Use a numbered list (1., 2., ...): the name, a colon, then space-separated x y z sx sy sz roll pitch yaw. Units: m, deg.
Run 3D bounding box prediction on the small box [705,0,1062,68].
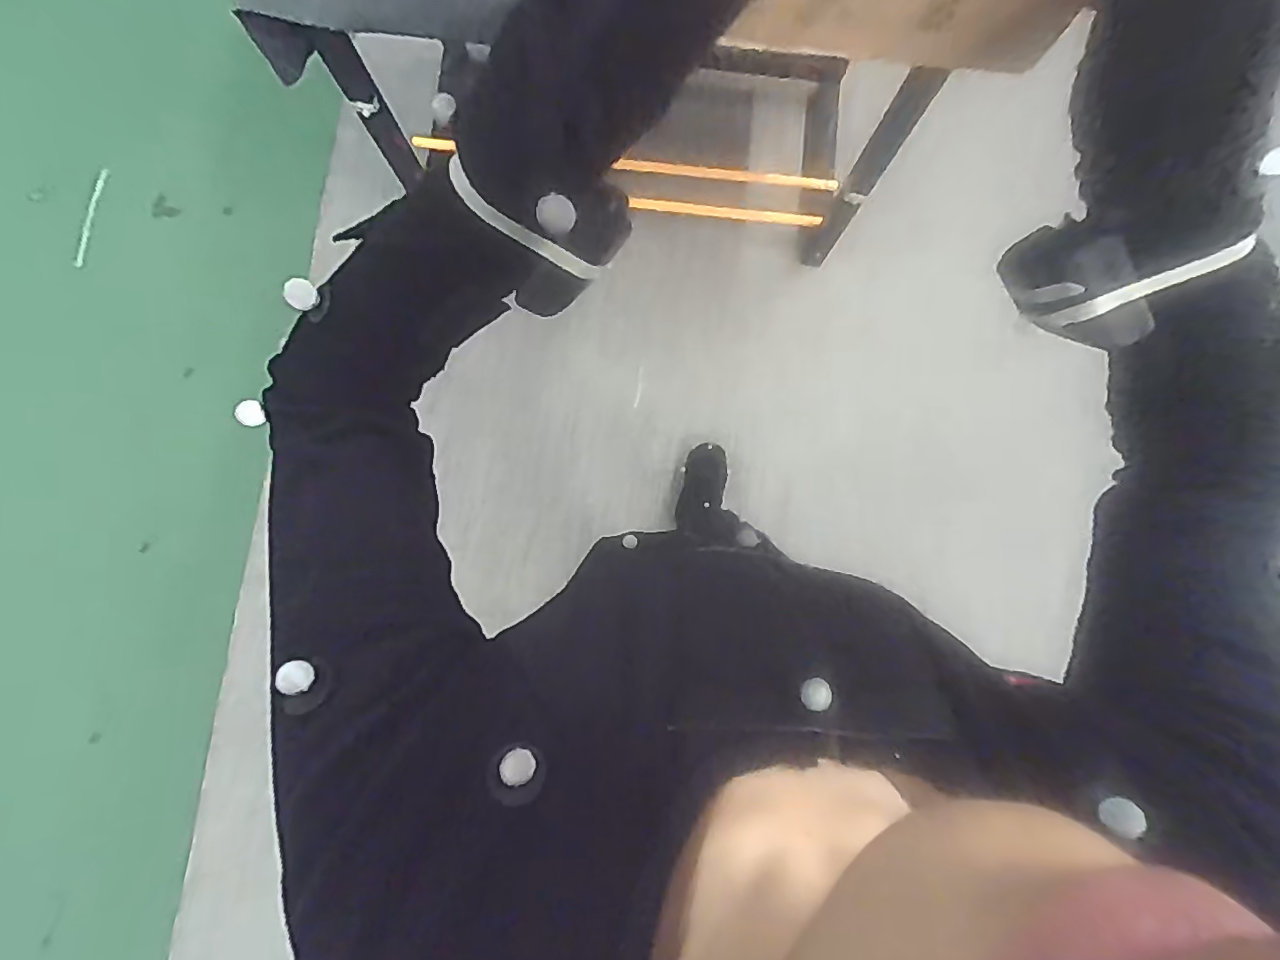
1. small box: 0.115 -0.308 0.202 0.168 0.176 0.179 1 79 -4
